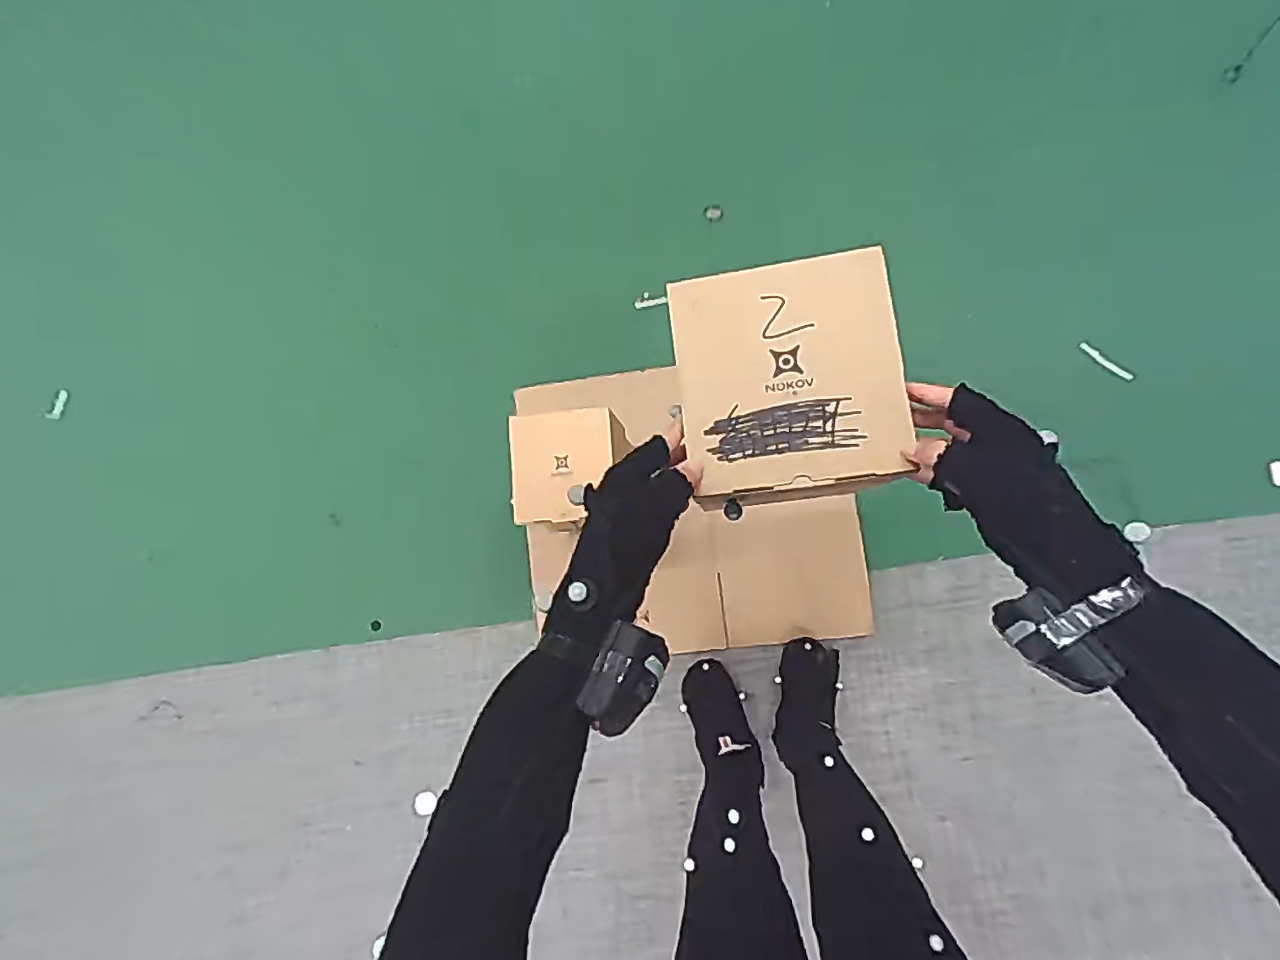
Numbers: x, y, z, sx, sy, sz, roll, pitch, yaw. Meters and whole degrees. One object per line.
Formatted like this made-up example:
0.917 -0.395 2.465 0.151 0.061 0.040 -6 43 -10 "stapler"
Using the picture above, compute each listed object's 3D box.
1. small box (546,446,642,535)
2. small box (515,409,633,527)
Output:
-0.091 0.015 1.087 0.168 0.176 0.179 -6 83 7 "small box"
-0.107 -0.013 0.928 0.168 0.176 0.179 -5 84 6 "small box"
